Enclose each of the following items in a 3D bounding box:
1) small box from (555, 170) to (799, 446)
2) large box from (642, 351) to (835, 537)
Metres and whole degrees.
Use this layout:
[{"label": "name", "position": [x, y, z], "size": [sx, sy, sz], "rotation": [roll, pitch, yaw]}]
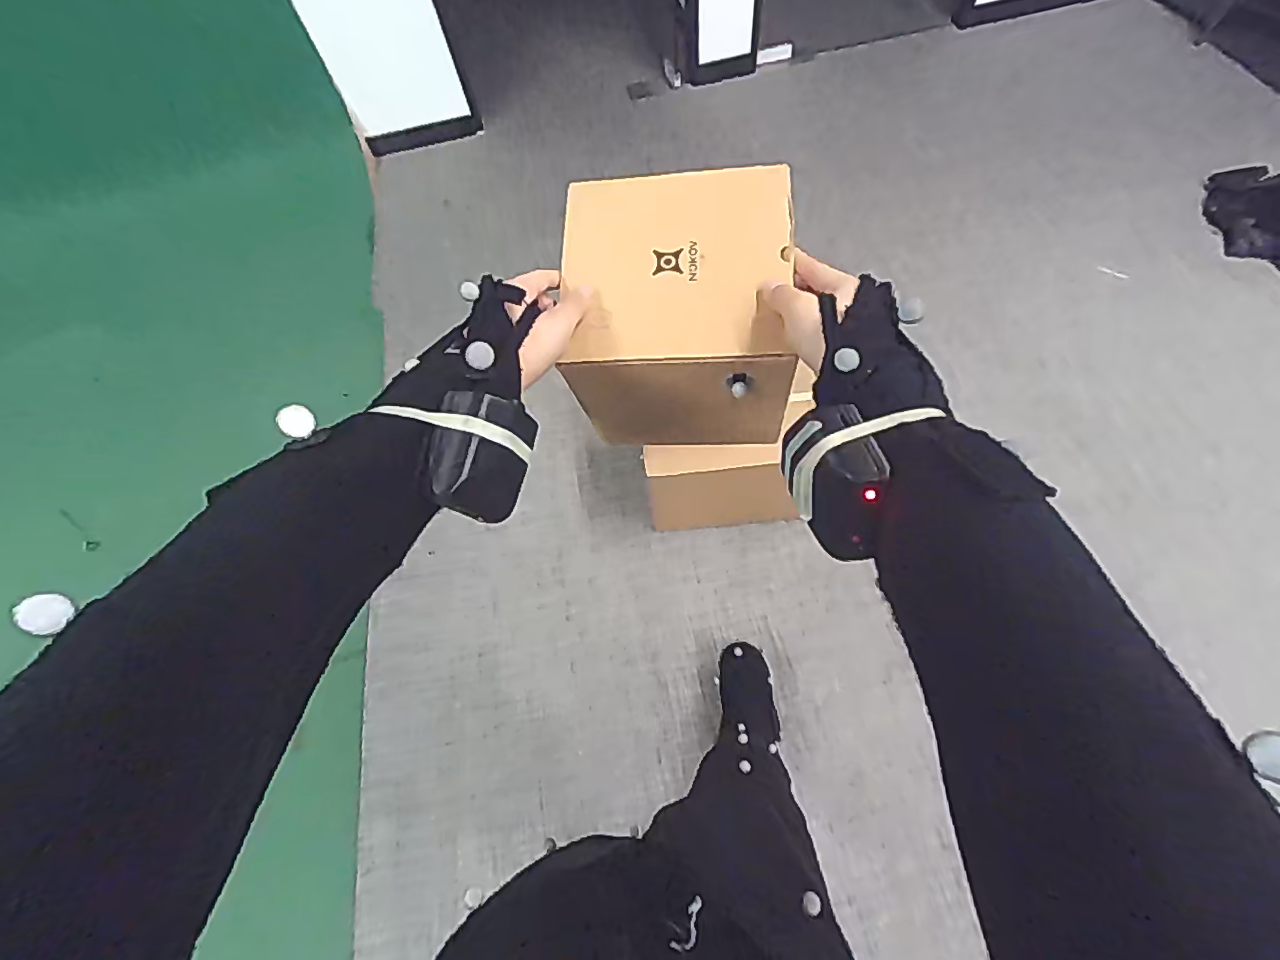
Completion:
[{"label": "small box", "position": [0.038, -0.135, 0.480], "size": [0.179, 0.176, 0.168], "rotation": [-1, 71, 8]}, {"label": "large box", "position": [0.208, -0.077, 1.329], "size": [0.408, 0.320, 0.320], "rotation": [-6, 62, 1]}]
